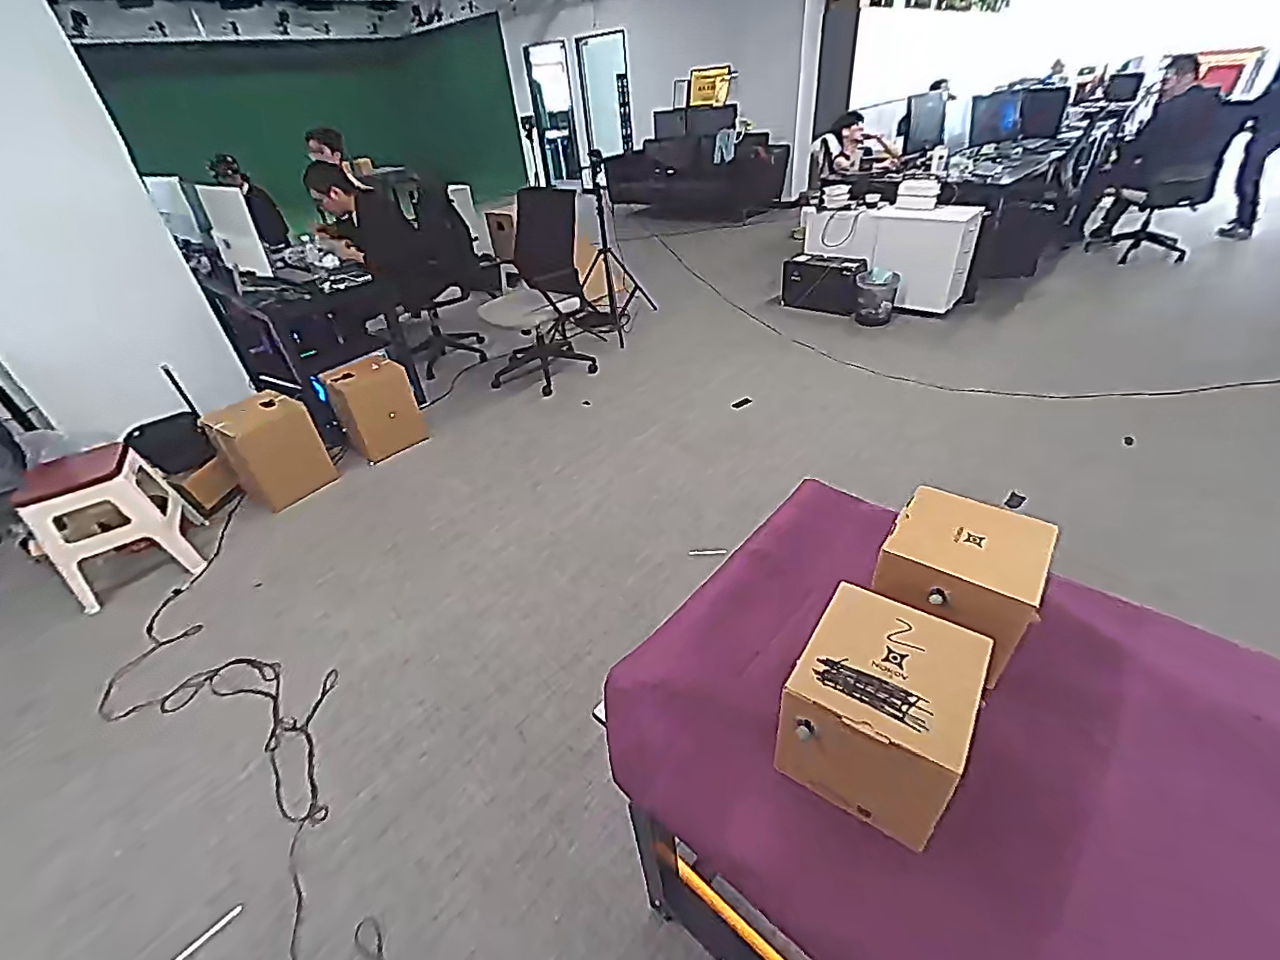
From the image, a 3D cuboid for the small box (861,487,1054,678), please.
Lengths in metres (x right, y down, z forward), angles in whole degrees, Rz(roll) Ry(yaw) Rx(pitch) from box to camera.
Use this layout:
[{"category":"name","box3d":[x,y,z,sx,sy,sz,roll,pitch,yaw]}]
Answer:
[{"category":"small box","box3d":[0.434,0.143,0.754,0.179,0.176,0.168,22,44,32]}]
